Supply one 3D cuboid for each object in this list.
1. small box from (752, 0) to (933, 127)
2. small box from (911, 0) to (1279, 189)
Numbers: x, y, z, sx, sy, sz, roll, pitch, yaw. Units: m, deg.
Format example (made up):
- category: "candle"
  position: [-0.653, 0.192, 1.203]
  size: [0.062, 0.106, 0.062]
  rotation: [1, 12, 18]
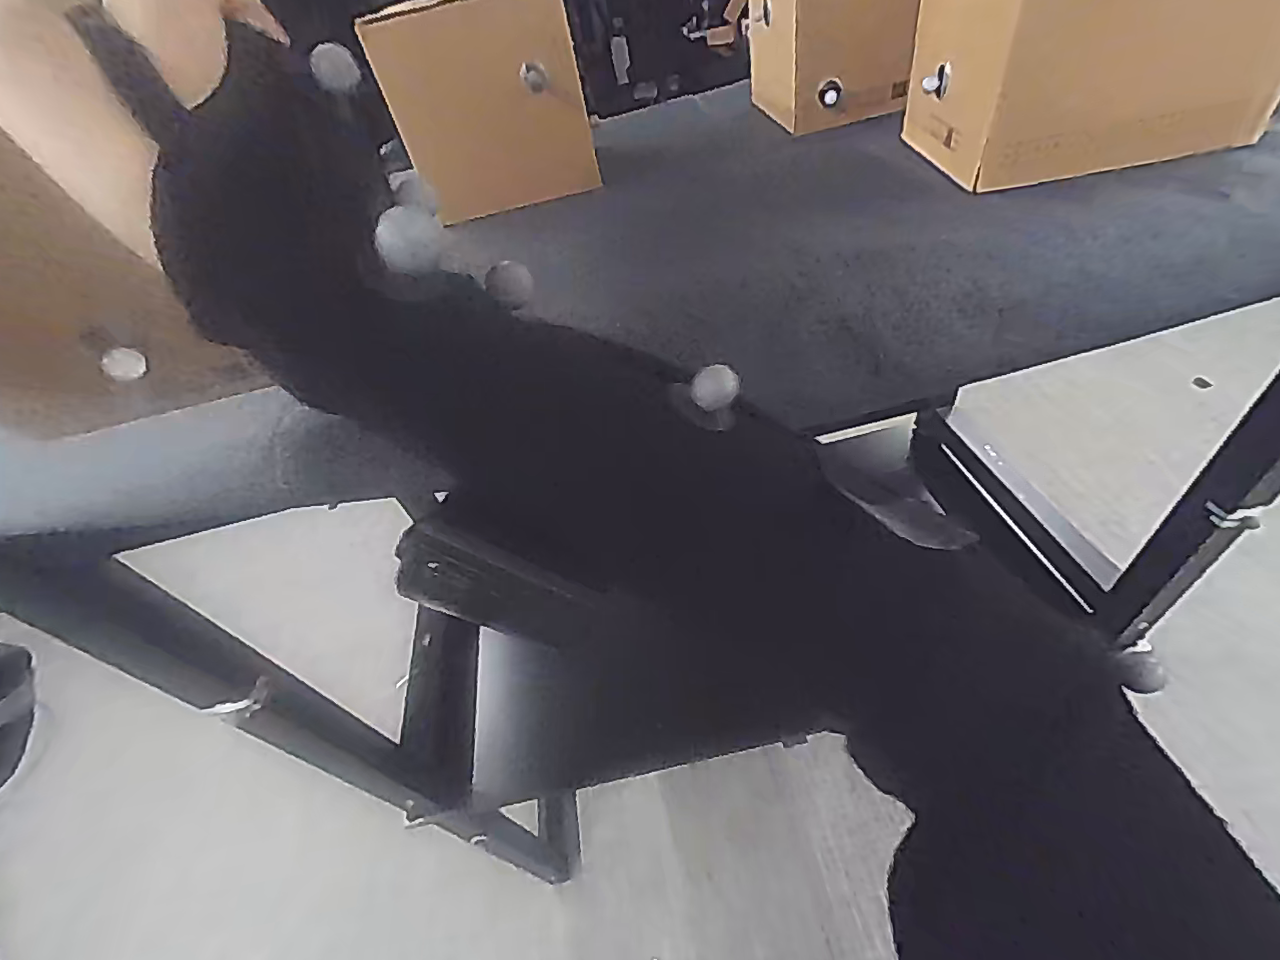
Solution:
- category: "small box"
  position: [0.215, -0.483, 0.549]
  size: [0.168, 0.176, 0.179]
  rotation: [-12, 44, 4]
- category: "small box"
  position: [0.310, -0.325, 0.368]
  size: [0.179, 0.176, 0.168]
  rotation: [-7, 44, 9]
